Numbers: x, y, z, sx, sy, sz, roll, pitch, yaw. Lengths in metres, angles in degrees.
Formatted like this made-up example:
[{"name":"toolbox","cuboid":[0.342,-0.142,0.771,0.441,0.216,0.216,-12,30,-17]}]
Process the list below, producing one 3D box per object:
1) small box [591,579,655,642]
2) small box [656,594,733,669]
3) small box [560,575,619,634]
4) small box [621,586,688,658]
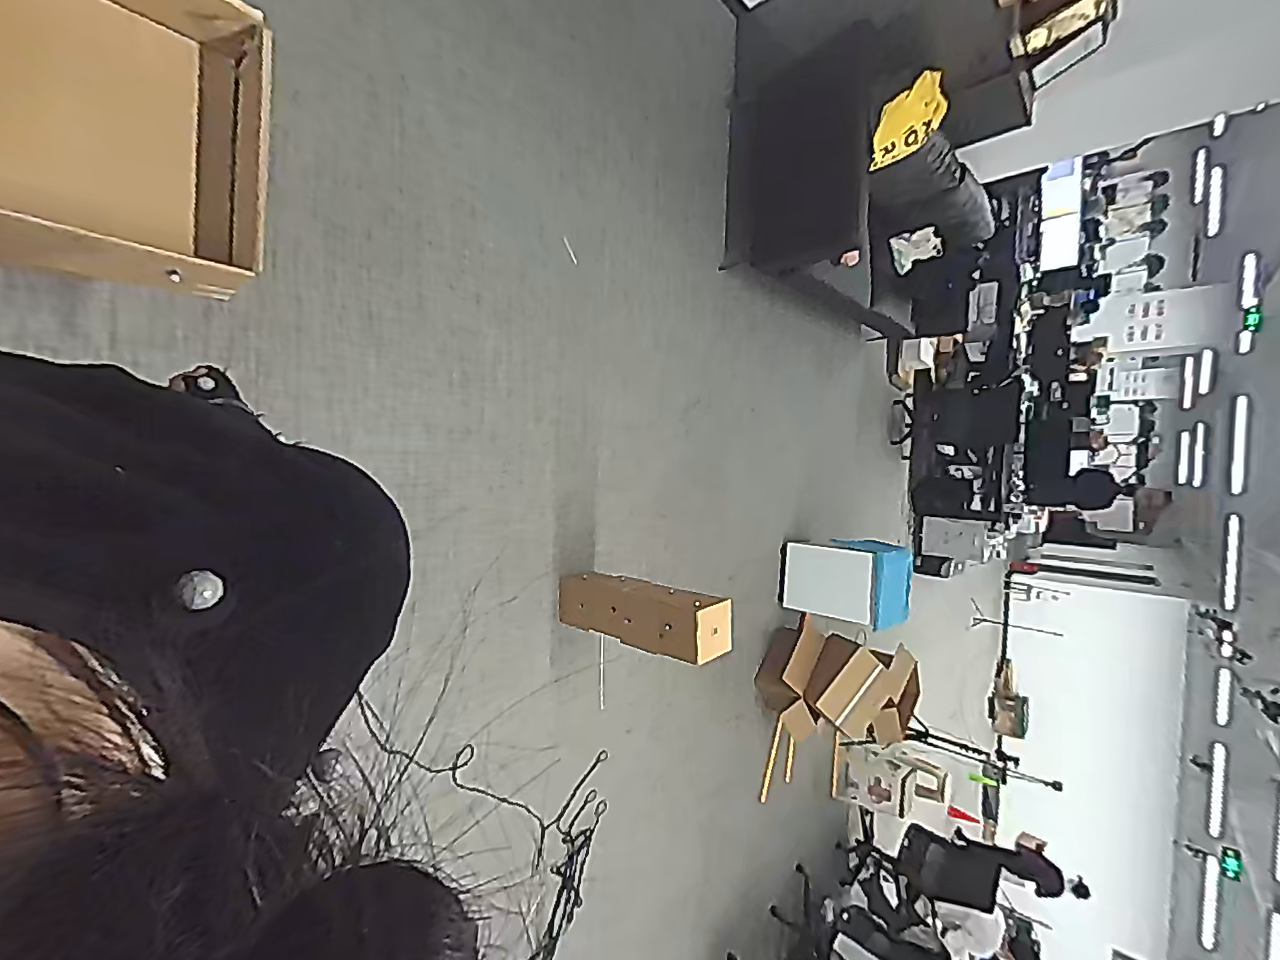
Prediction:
[{"name":"small box","cuboid":[-0.061,0.452,1.907,0.168,0.176,0.179,-1,93,-47]},{"name":"small box","cuboid":[0.170,0.461,1.675,0.179,0.176,0.168,-4,94,-46]},{"name":"small box","cuboid":[-0.183,0.457,2.017,0.168,0.176,0.179,-1,93,-48]},{"name":"small box","cuboid":[0.050,0.462,1.787,0.168,0.176,0.179,-4,95,-48]}]
